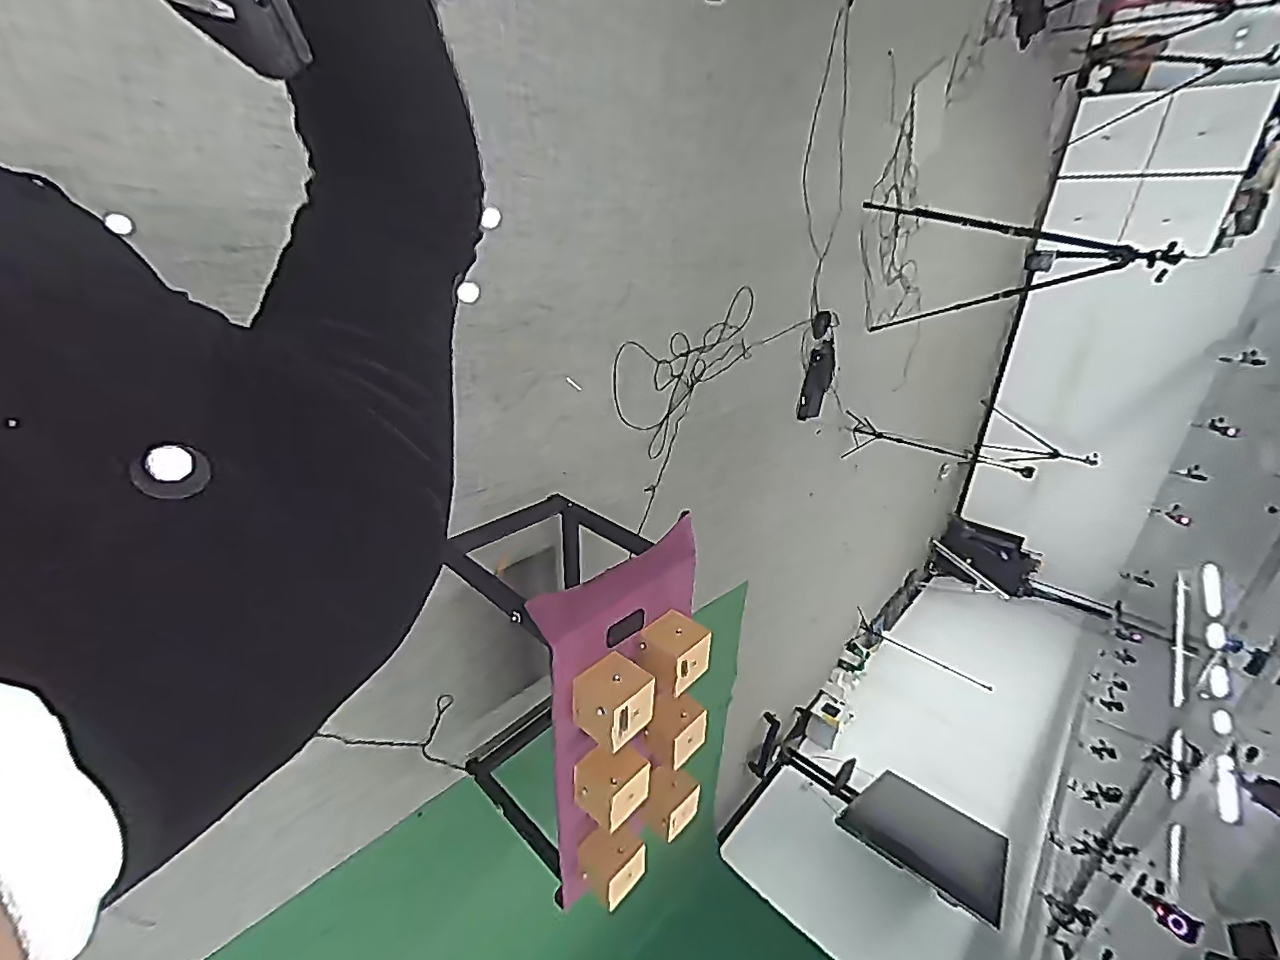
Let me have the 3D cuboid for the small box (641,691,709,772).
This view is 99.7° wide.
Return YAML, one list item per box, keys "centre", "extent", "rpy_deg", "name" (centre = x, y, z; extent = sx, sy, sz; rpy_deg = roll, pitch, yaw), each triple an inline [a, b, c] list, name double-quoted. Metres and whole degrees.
- centre: [0.123, 0.884, 1.930]
  extent: [0.179, 0.176, 0.168]
  rpy_deg: [-23, 123, -41]
  name: "small box"

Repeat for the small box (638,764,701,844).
- centre: [0.113, 1.239, 2.090]
  extent: [0.179, 0.176, 0.168]
  rpy_deg: [-21, 122, -43]
  name: "small box"

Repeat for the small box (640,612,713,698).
- centre: [0.114, 0.562, 1.759]
  extent: [0.179, 0.176, 0.168]
  rpy_deg: [-24, 125, -42]
  name: "small box"

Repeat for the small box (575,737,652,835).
- centre: [-0.085, 0.963, 1.719]
  extent: [0.179, 0.176, 0.168]
  rpy_deg: [-22, 123, -44]
  name: "small box"

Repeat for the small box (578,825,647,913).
- centre: [-0.095, 1.326, 1.878]
  extent: [0.179, 0.176, 0.168]
  rpy_deg: [-23, 123, -41]
  name: "small box"
